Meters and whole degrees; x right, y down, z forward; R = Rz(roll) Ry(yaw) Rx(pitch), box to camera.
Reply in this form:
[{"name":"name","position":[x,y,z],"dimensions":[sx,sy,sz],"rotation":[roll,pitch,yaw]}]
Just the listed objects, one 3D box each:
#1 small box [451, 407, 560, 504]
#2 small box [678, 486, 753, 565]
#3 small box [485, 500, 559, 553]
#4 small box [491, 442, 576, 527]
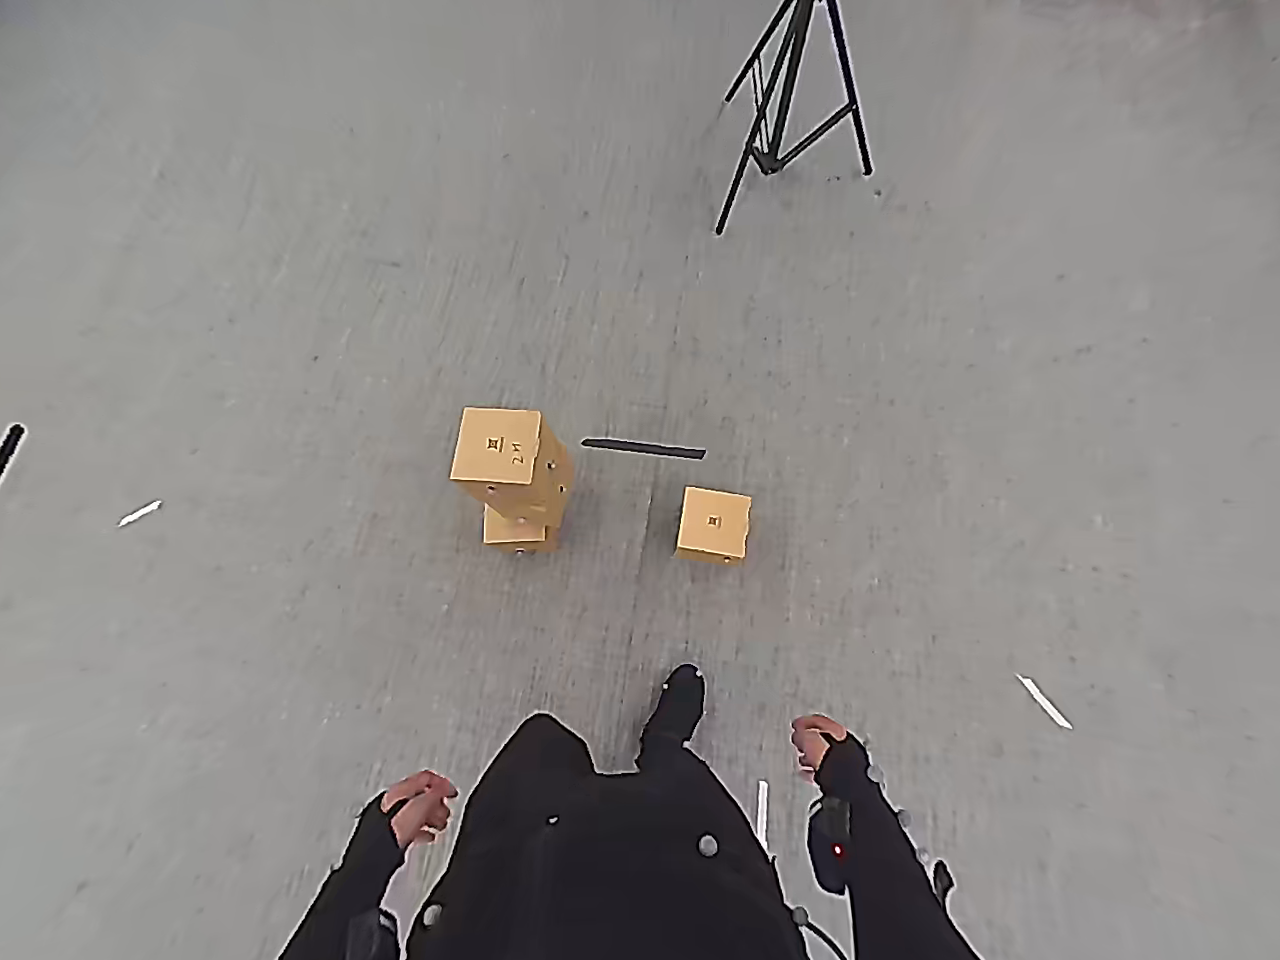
[{"name":"small box","position":[-0.289,-0.049,1.199],"dimensions":[0.179,0.176,0.168],"rotation":[4,72,5]},{"name":"small box","position":[0.199,0.129,1.466],"dimensions":[0.179,0.176,0.168],"rotation":[9,73,4]},{"name":"small box","position":[-0.319,0.100,1.497],"dimensions":[0.168,0.176,0.179],"rotation":[-3,73,2]},{"name":"small box","position":[-0.266,0.003,1.354],"dimensions":[0.168,0.176,0.179],"rotation":[11,74,7]}]
